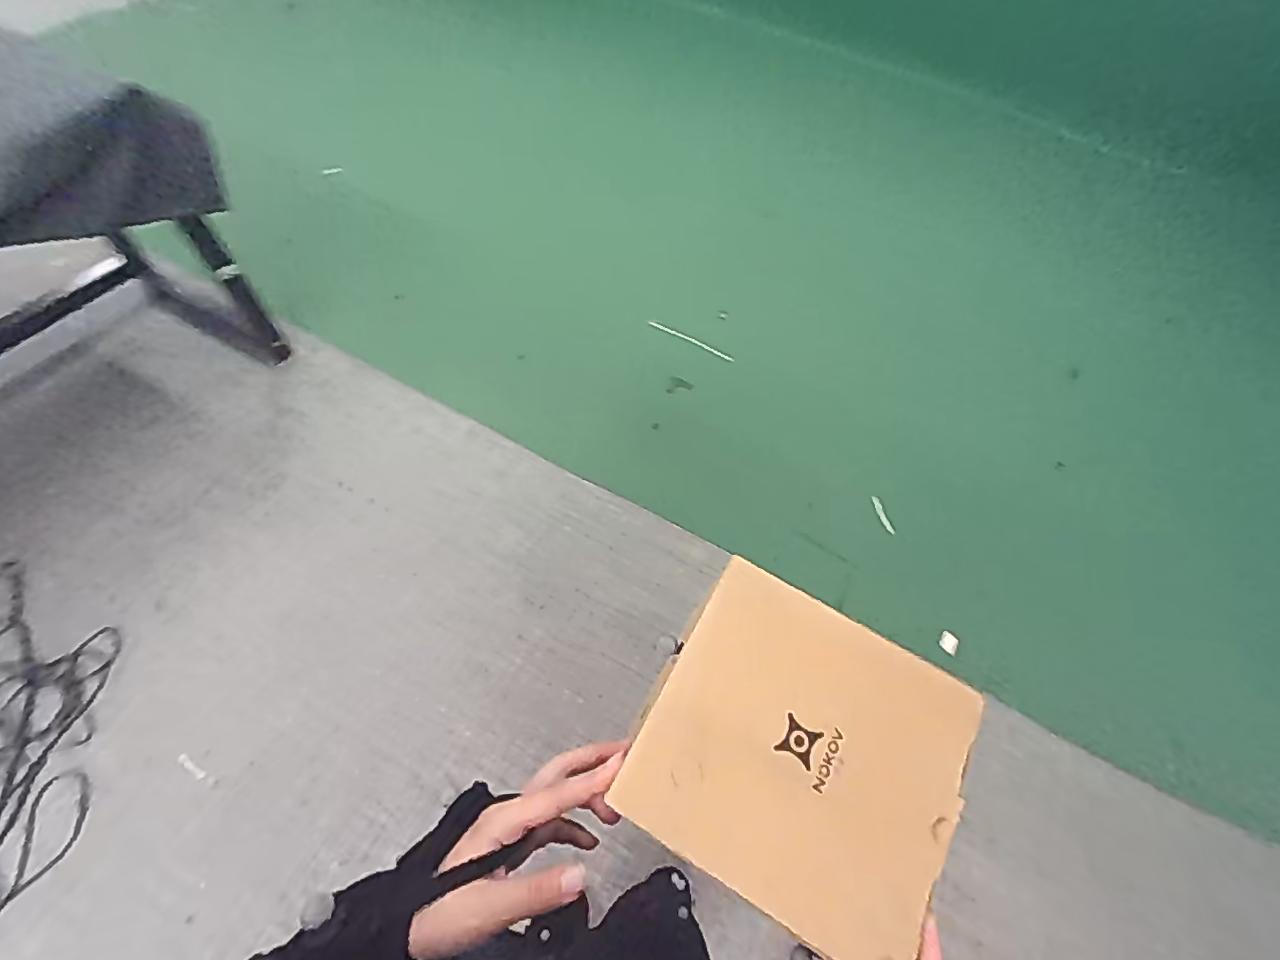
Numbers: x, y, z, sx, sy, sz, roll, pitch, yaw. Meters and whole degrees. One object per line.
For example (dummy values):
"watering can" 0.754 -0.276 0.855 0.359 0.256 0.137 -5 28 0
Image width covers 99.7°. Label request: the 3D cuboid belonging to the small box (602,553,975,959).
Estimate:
"small box" 0.085 0.184 0.383 0.179 0.176 0.168 29 65 9
